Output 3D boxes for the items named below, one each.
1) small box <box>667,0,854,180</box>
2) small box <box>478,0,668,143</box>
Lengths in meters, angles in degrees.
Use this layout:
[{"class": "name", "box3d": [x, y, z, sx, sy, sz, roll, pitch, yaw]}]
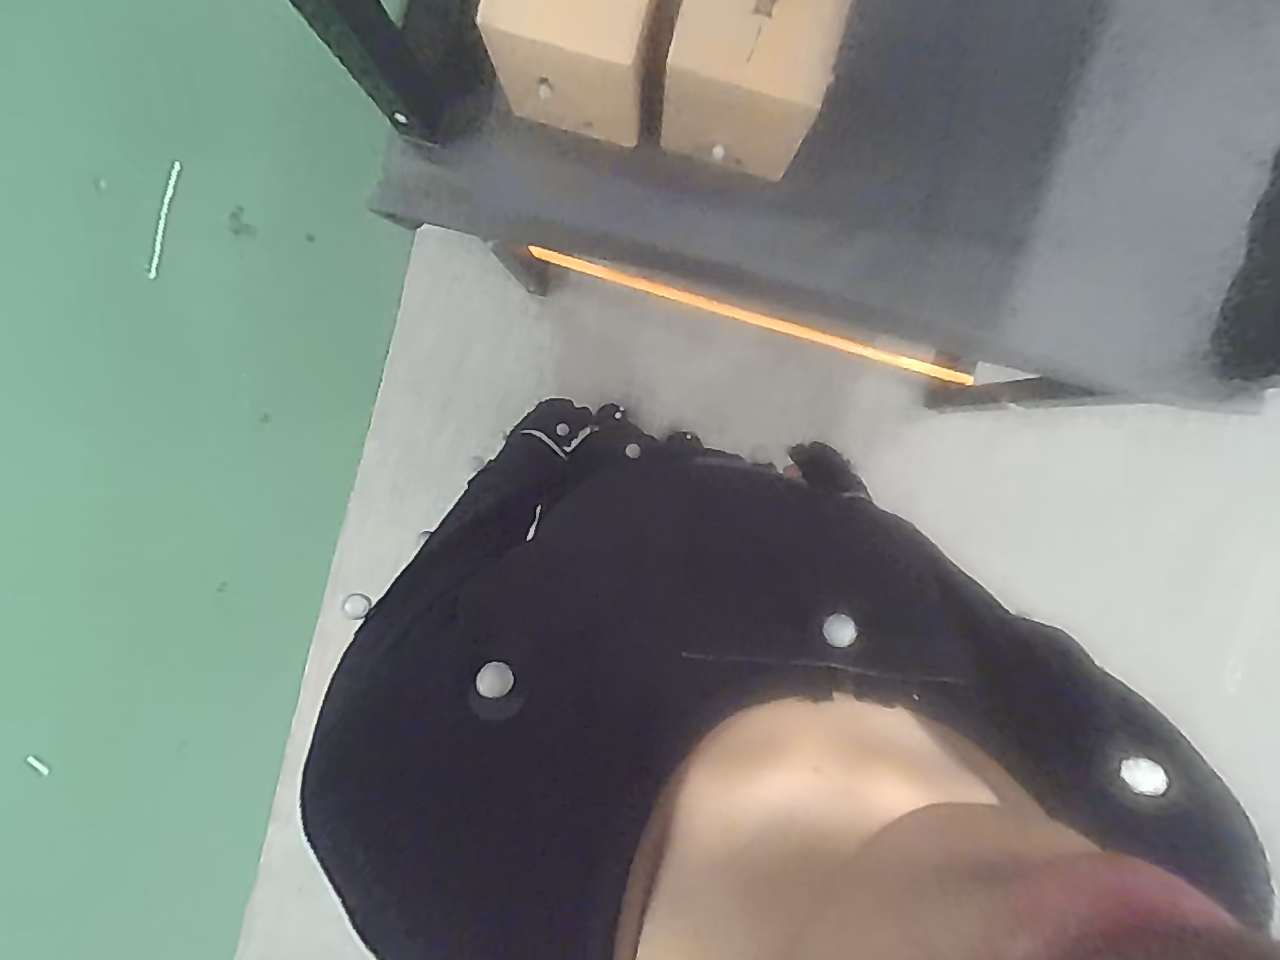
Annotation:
[{"class": "small box", "box3d": [0.129, -0.486, 0.617, 0.168, 0.176, 0.179, 16, 96, 0]}, {"class": "small box", "box3d": [-0.063, -0.527, 0.617, 0.168, 0.176, 0.179, 15, 95, -1]}]
